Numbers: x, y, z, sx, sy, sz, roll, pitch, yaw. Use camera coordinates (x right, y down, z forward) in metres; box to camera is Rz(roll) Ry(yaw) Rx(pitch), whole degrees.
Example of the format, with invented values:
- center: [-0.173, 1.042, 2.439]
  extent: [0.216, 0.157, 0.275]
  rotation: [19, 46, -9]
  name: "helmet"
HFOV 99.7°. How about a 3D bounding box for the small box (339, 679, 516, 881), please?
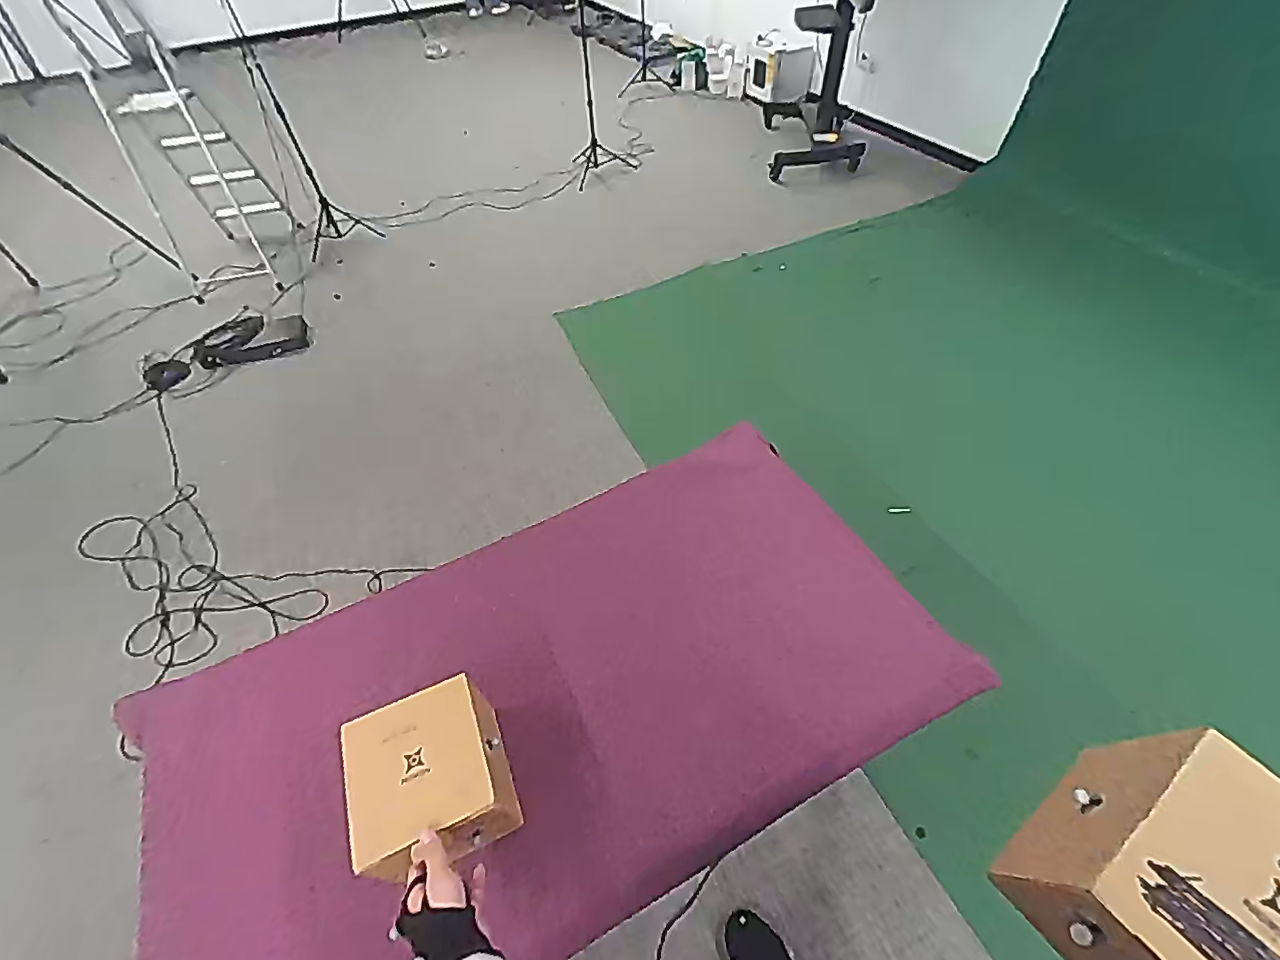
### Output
- center: [-0.279, 0.408, 0.731]
  extent: [0.168, 0.176, 0.179]
  rotation: [-20, 52, -14]
  name: "small box"
